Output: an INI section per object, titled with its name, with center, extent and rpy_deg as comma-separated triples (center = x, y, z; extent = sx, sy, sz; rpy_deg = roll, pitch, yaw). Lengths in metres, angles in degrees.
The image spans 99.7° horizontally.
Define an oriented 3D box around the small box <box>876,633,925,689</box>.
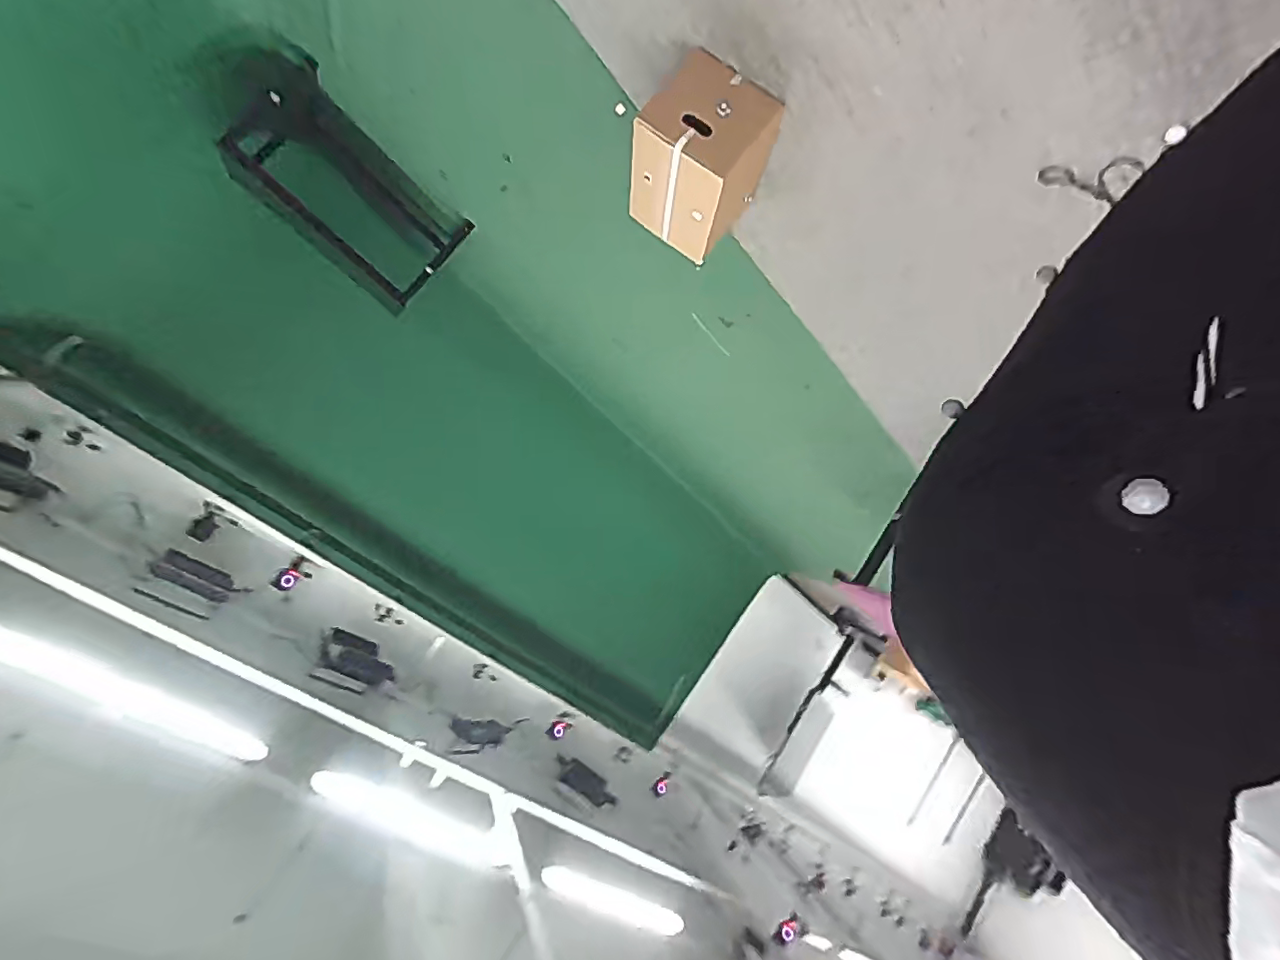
[small box]
center = 1.276, 0.855, 2.579
extent = 0.168, 0.176, 0.179
rpy_deg = 43, 167, -25
